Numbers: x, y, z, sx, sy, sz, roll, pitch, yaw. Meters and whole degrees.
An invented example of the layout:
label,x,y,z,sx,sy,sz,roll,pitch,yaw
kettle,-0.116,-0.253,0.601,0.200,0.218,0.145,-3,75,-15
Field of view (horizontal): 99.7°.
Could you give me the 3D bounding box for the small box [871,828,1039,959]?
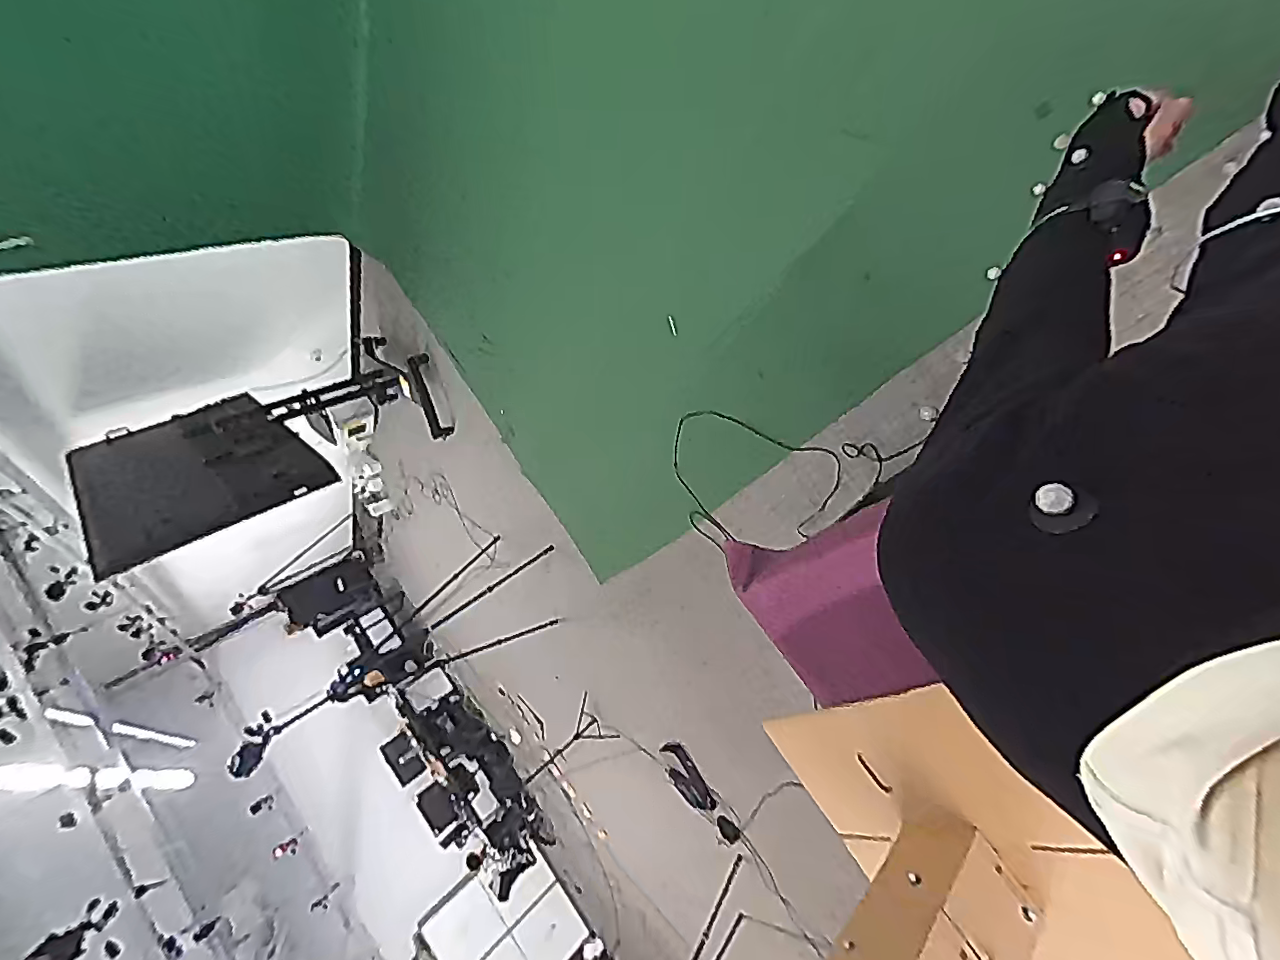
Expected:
label,x,y,z,sx,sy,sz,roll,pitch,yaw
small box,0.551,0.741,0.941,0.168,0.176,0.179,54,144,12
